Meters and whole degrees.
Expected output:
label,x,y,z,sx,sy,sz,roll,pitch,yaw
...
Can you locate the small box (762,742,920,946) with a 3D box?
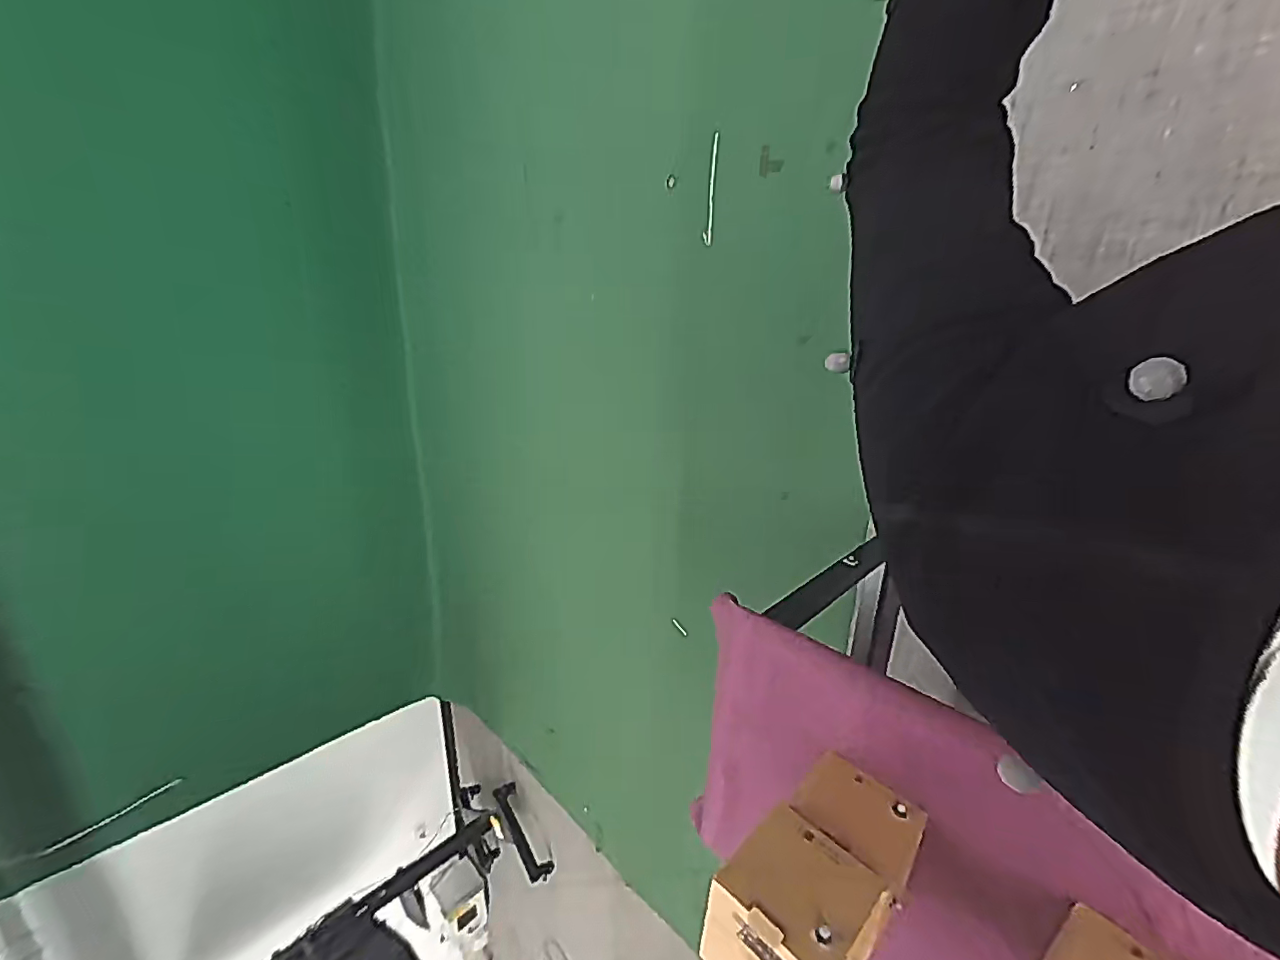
label,x,y,z,sx,sy,sz,roll,pitch,yaw
small box,0.325,0.569,0.872,0.168,0.176,0.179,27,121,40
